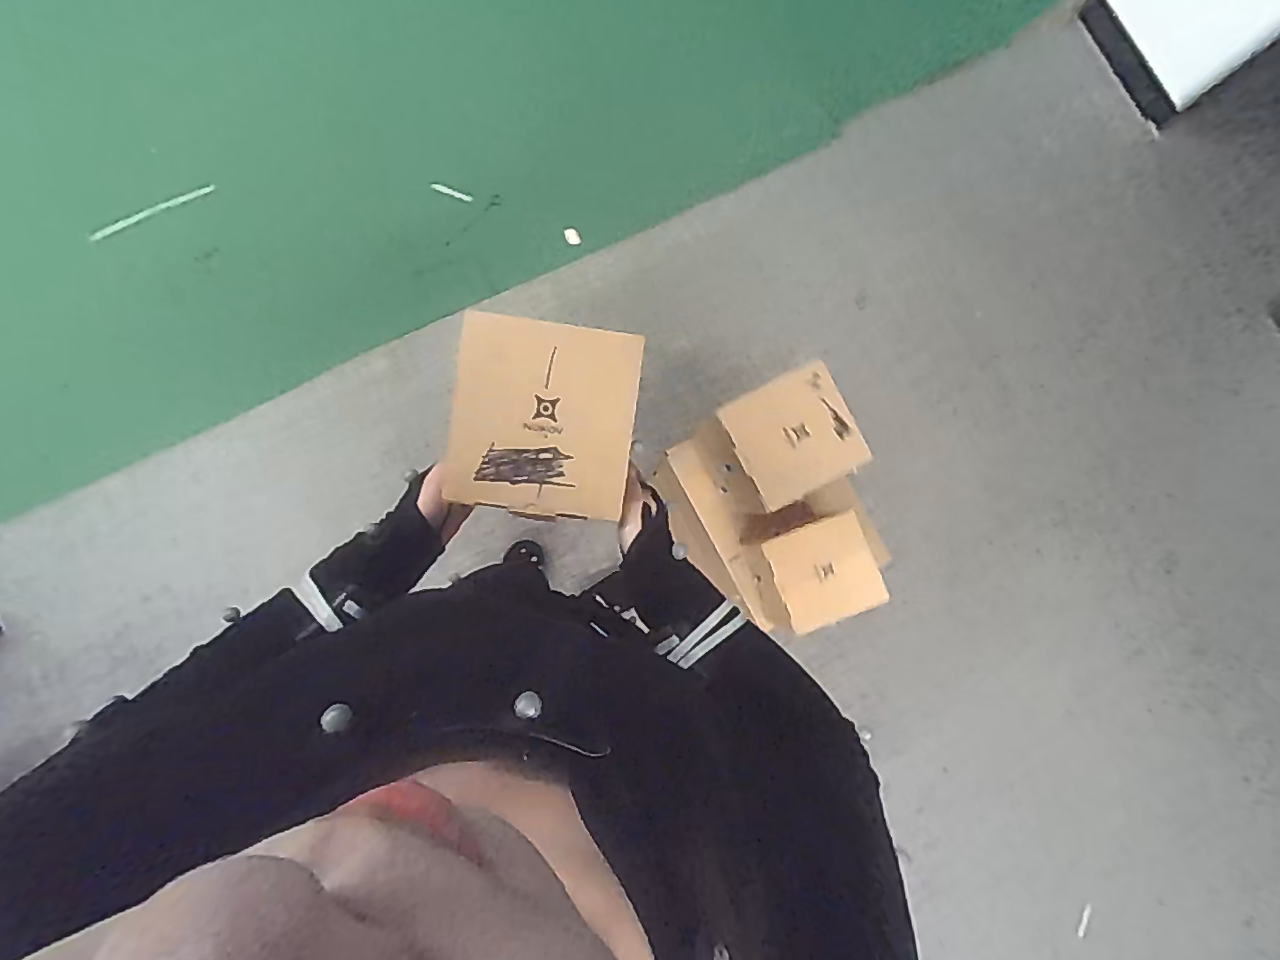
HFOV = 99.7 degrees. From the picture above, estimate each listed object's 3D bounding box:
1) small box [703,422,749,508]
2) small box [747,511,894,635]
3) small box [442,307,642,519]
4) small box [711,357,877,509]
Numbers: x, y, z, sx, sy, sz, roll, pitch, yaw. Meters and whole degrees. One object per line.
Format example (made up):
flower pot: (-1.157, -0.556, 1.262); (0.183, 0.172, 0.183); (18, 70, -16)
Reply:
small box: (0.228, -0.053, 1.007); (0.179, 0.176, 0.168); (-25, 88, -4)
small box: (0.317, 0.163, 0.988); (0.179, 0.176, 0.168); (-20, 84, -4)
small box: (-0.091, -0.062, 0.566); (0.168, 0.176, 0.179); (7, 91, -3)
small box: (0.224, -0.062, 0.843); (0.179, 0.176, 0.168); (-27, 88, -3)
